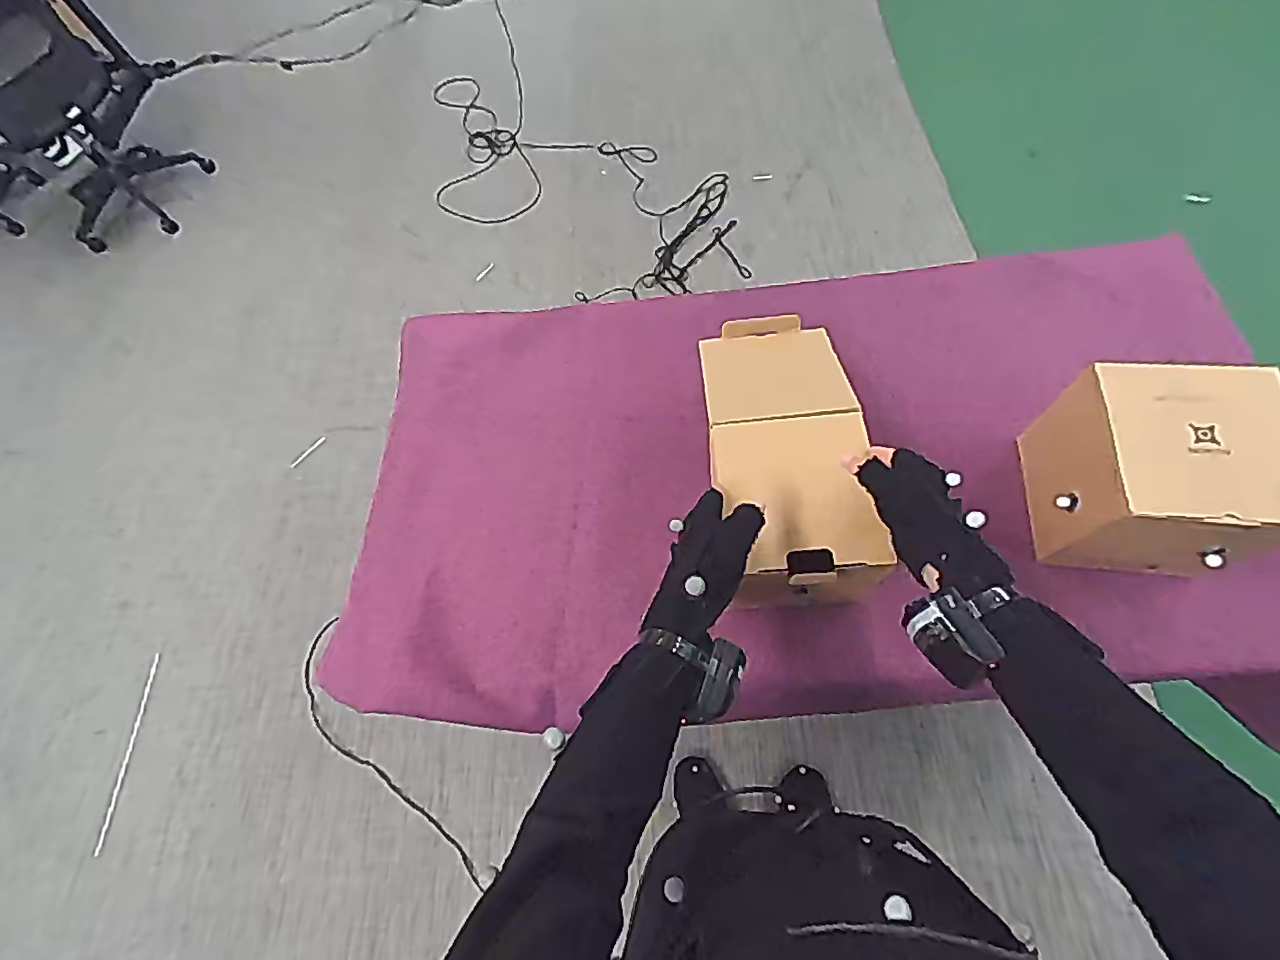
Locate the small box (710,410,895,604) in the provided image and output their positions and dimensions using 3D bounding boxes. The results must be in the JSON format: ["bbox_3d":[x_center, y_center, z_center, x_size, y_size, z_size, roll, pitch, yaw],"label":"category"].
[{"bbox_3d":[0.173,0.043,0.629,0.168,0.176,0.179,-5,64,6],"label":"small box"}]

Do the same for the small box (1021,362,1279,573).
[{"bbox_3d":[0.554,-0.006,0.592,0.168,0.176,0.179,5,66,11],"label":"small box"}]
